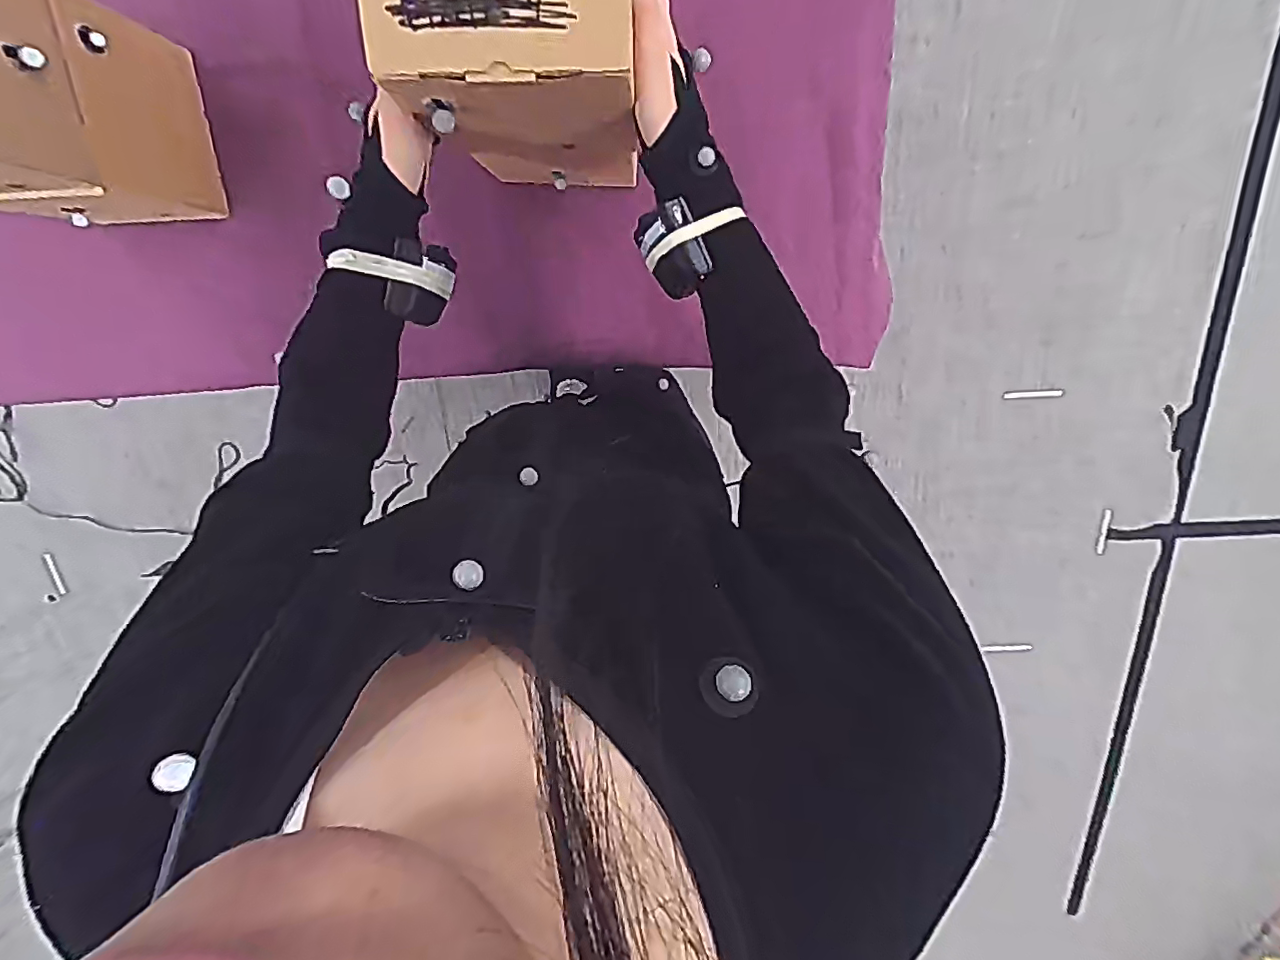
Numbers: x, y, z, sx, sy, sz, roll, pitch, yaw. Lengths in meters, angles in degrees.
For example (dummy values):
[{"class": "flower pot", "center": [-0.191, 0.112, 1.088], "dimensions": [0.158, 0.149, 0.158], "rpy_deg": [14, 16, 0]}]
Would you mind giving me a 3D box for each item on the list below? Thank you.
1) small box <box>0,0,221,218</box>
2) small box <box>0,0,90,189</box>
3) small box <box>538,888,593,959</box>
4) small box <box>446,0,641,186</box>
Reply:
[{"class": "small box", "center": [-0.586, -0.376, 0.559], "dimensions": [0.168, 0.176, 0.179], "rpy_deg": [-2, 107, 1]}, {"class": "small box", "center": [-0.588, -0.331, 0.401], "dimensions": [0.168, 0.176, 0.179], "rpy_deg": [-2, 107, 1]}, {"class": "small box", "center": [-0.267, 1.624, 1.967], "dimensions": [0.168, 0.176, 0.179], "rpy_deg": [-3, 108, 3]}, {"class": "small box", "center": [-0.084, -0.414, 0.542], "dimensions": [0.168, 0.176, 0.179], "rpy_deg": [3, 108, 0]}]
